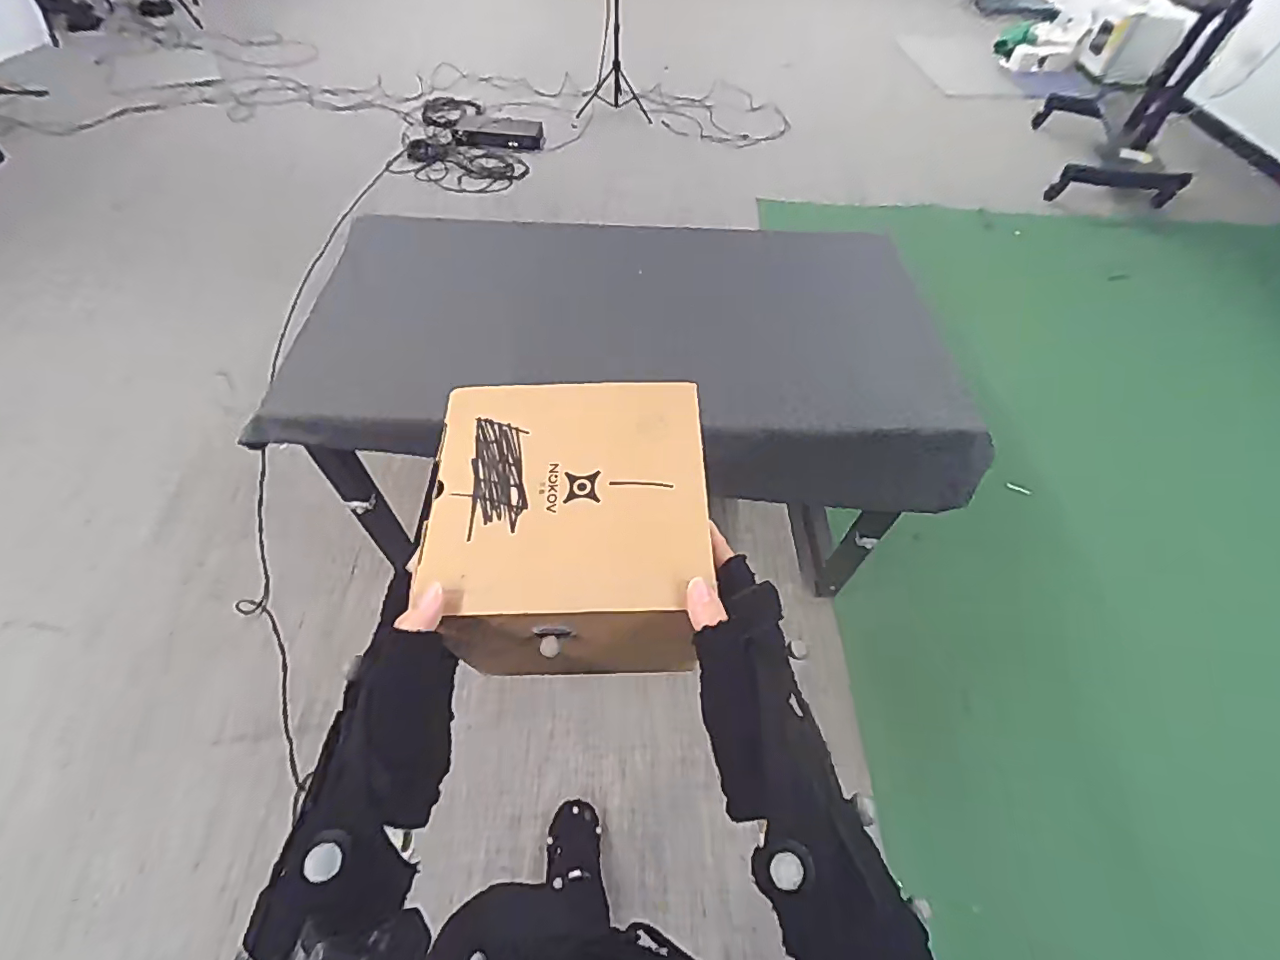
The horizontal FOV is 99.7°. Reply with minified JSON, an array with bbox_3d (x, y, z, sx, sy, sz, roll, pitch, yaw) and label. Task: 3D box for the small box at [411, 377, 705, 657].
[{"bbox_3d":[-0.048,0.038,0.423,0.179,0.176,0.168,0,60,-1],"label":"small box"}]
